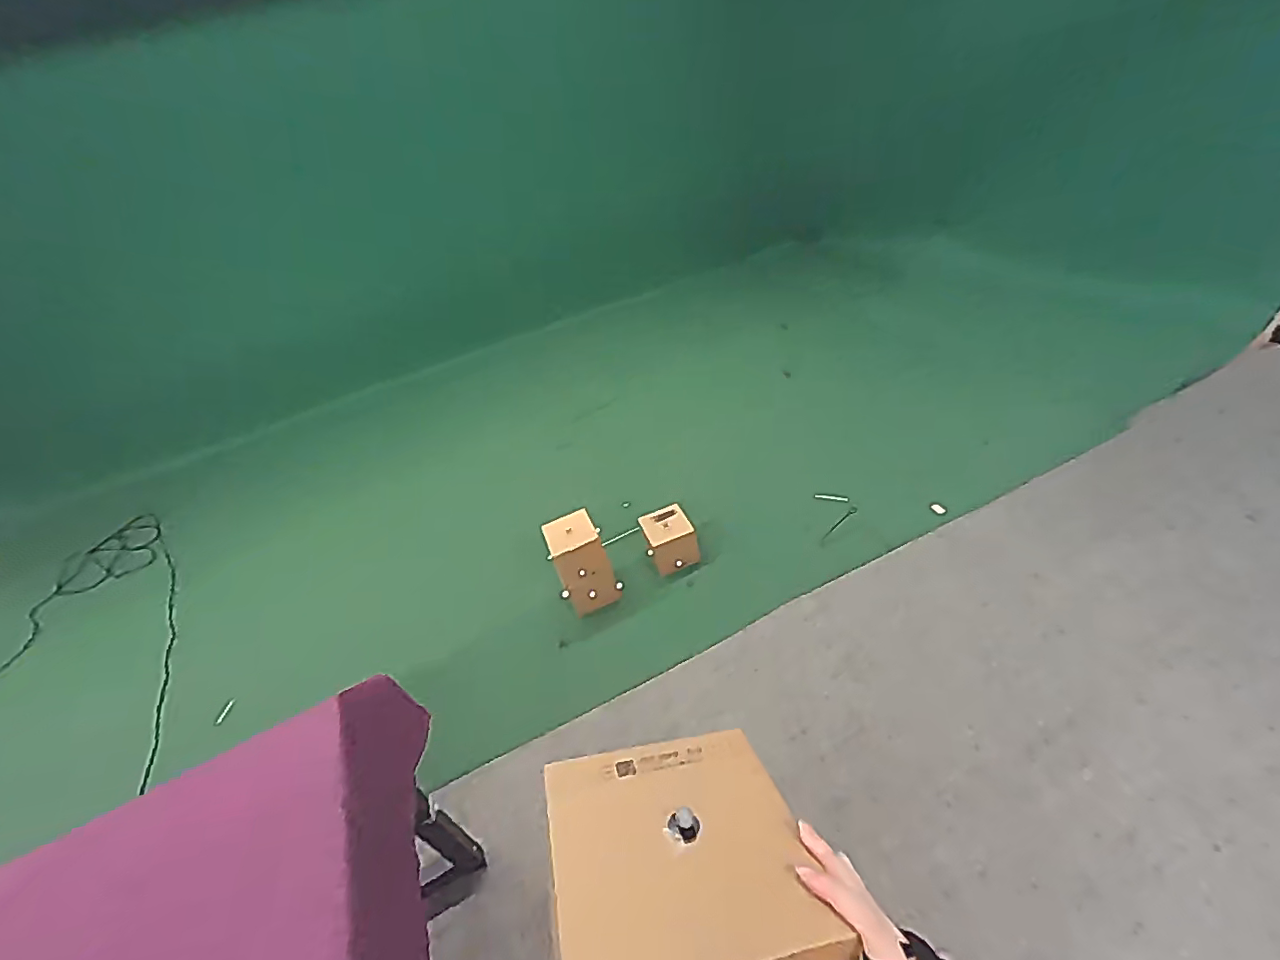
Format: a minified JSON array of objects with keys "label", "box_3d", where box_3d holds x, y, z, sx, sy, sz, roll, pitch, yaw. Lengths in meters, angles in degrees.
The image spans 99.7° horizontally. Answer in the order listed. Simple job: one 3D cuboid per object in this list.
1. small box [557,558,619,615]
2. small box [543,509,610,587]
[{"label":"small box","box_3d":[-0.188,0.361,1.986,0.179,0.176,0.168,-24,38,-9]},{"label":"small box","box_3d":[-0.220,0.237,1.885,0.168,0.176,0.179,-23,39,-10]}]
